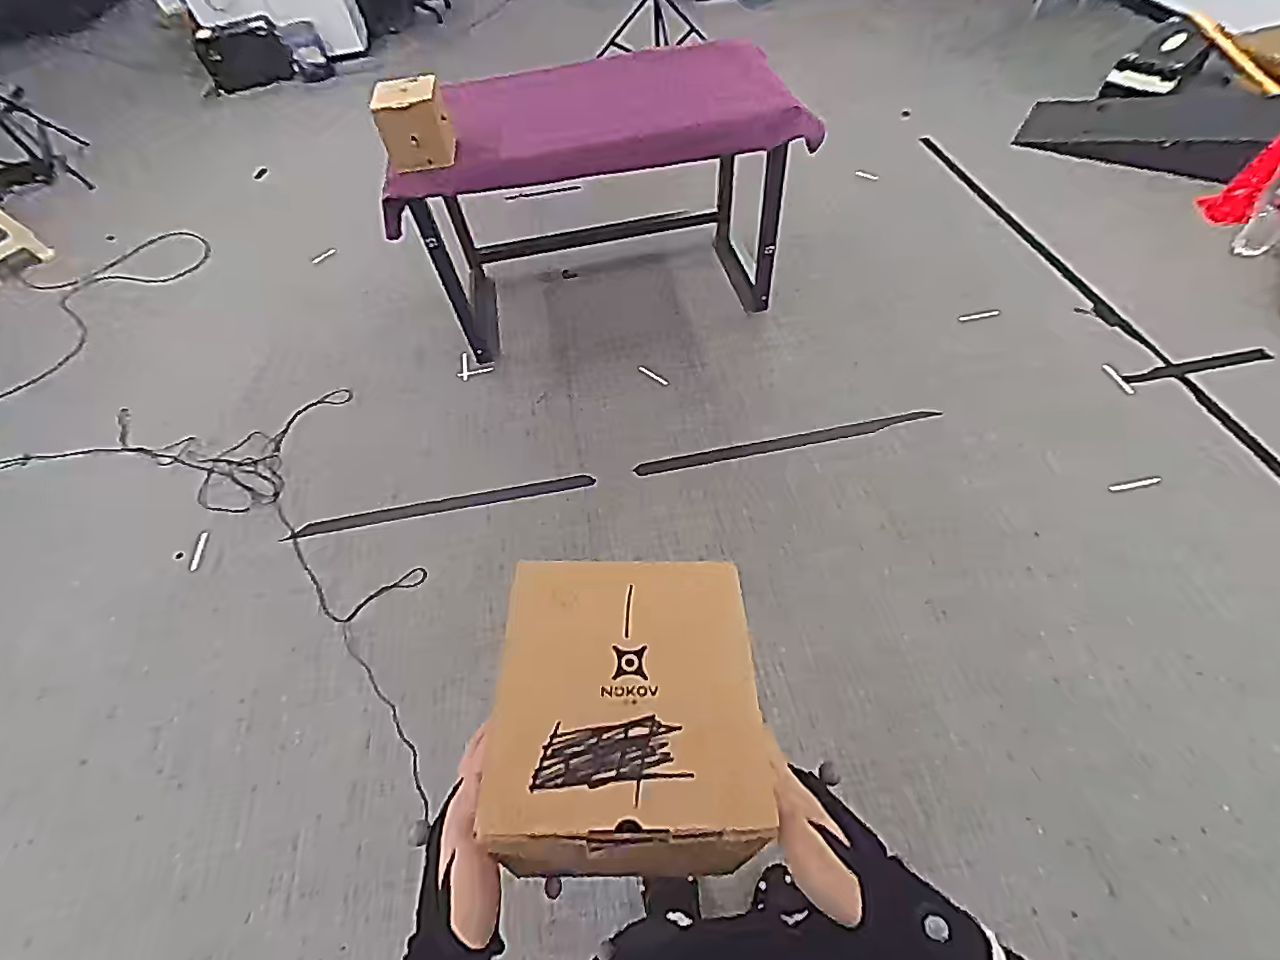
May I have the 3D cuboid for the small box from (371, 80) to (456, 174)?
[{"bbox_3d":[-0.631,-0.987,1.525,0.168,0.176,0.179,-10,56,-2],"label":"small box"}]

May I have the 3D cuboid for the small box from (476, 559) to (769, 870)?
[{"bbox_3d":[-0.011,0.179,0.409,0.168,0.176,0.179,2,46,-2],"label":"small box"}]
